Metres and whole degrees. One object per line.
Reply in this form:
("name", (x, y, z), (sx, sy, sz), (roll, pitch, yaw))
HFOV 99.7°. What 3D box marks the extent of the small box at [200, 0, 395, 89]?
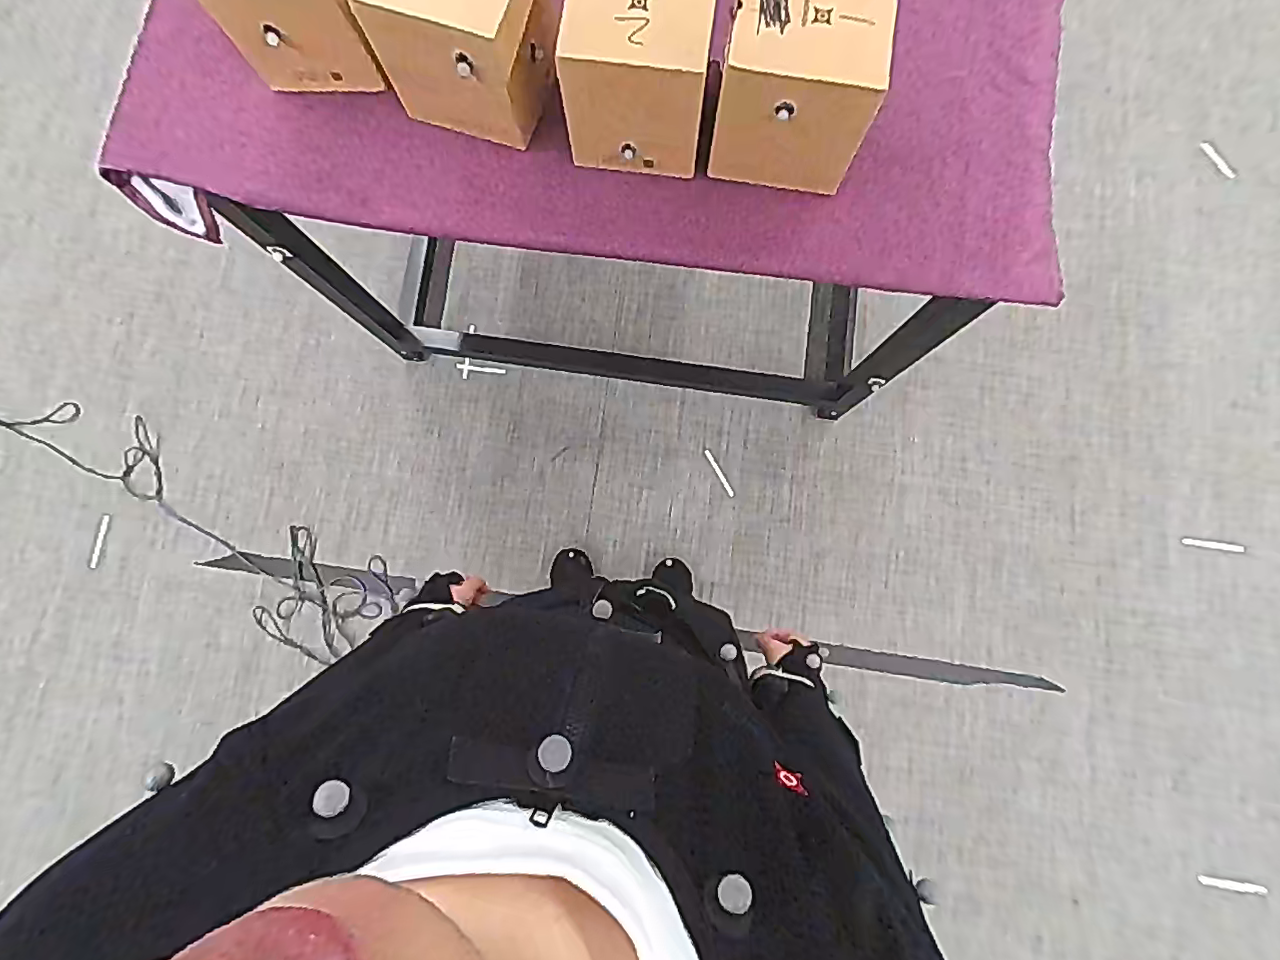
("small box", (-0.434, -0.642, 0.694), (0.168, 0.176, 0.179), (0, 83, 1))
